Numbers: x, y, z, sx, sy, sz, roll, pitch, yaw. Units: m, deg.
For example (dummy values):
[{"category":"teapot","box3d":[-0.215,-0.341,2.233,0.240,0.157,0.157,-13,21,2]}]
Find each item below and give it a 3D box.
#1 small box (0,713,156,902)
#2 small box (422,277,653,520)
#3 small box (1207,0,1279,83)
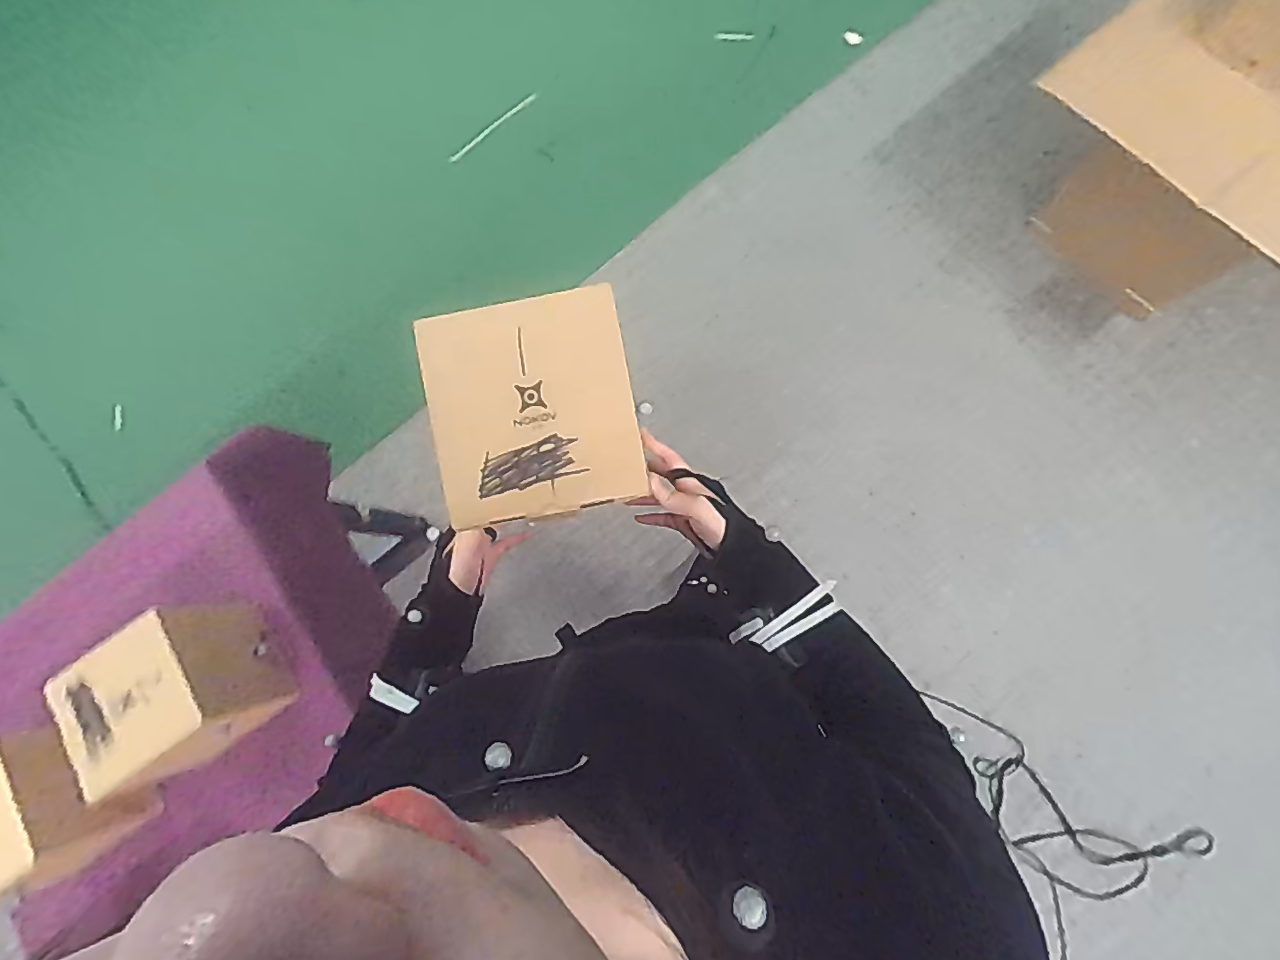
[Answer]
[{"category":"small box","box3d":[-0.838,0.459,0.759,0.179,0.176,0.168,-36,78,1]},{"category":"small box","box3d":[-0.081,-0.066,0.514,0.168,0.176,0.179,-10,89,1]},{"category":"small box","box3d":[1.221,-0.887,0.982,0.179,0.176,0.168,-41,77,-2]}]
